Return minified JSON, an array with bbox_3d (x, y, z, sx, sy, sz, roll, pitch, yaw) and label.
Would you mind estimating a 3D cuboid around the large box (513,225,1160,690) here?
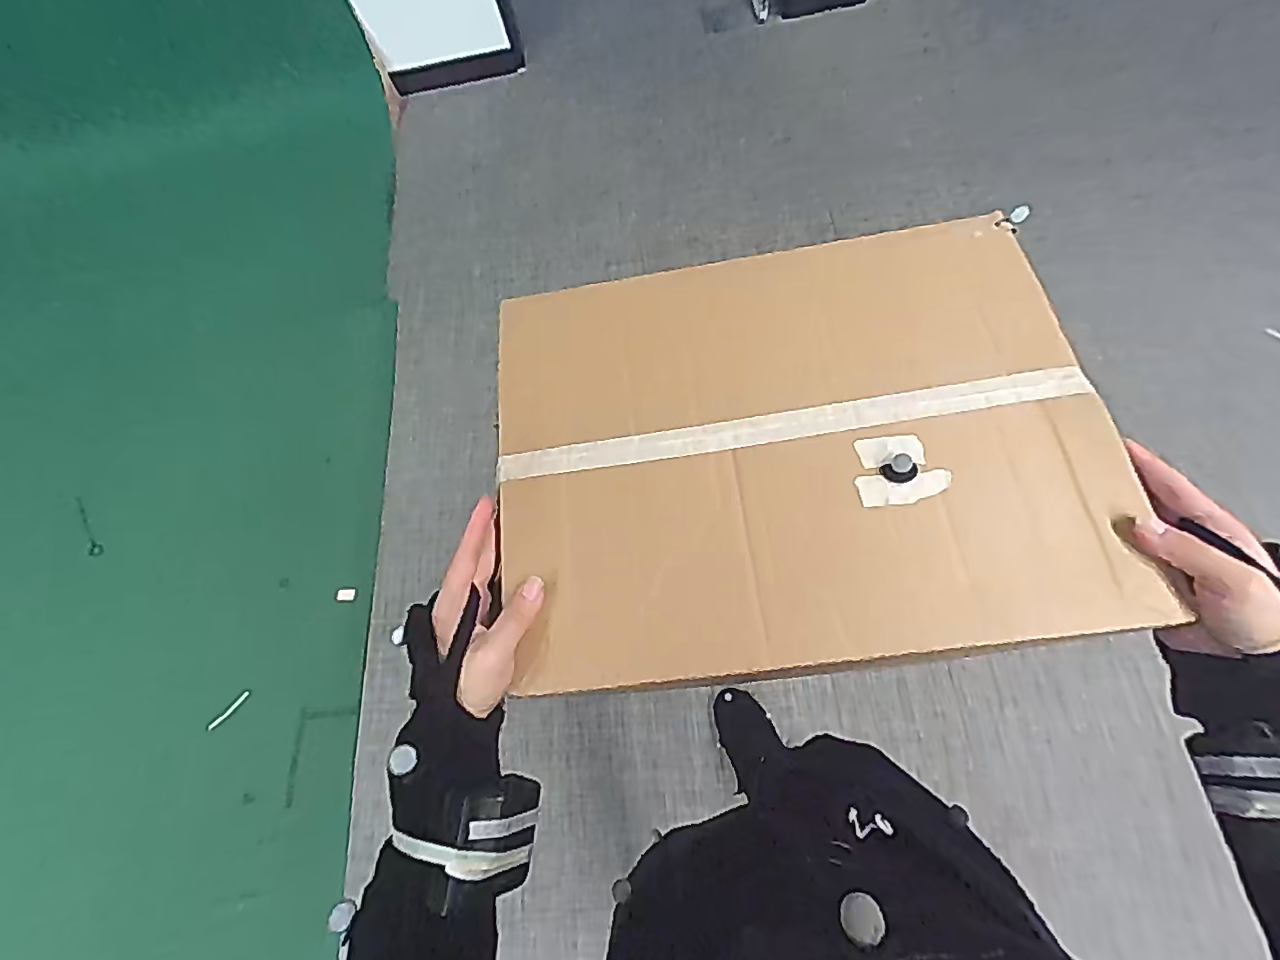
[{"bbox_3d":[0.119,0.016,0.531,0.408,0.320,0.320,-8,68,4],"label":"large box"}]
